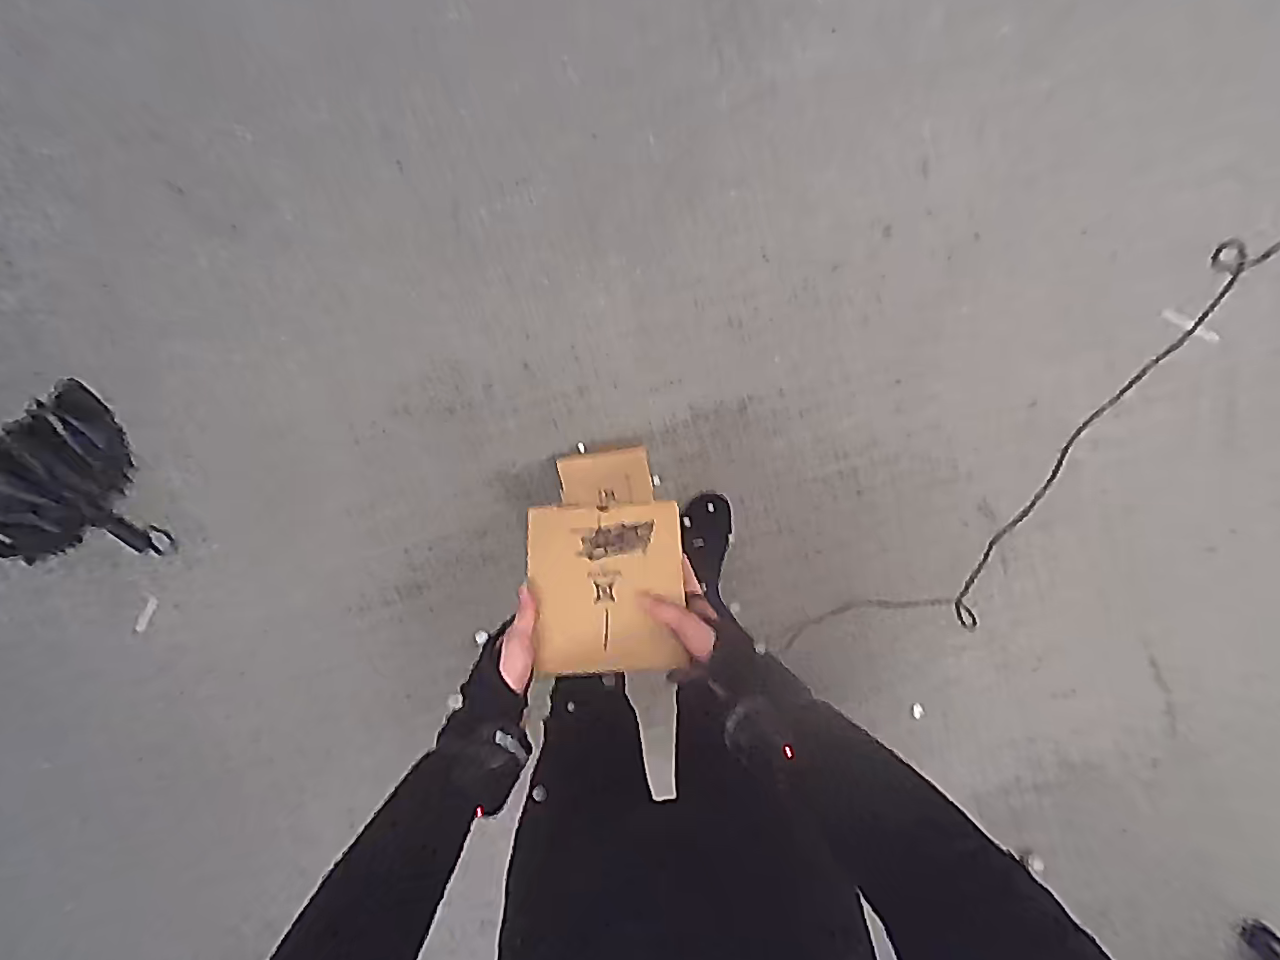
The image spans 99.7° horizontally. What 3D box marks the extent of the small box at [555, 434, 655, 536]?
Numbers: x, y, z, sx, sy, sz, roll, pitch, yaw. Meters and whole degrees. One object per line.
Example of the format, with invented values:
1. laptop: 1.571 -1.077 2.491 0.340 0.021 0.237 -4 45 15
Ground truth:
1. small box: -0.067 0.004 1.129 0.179 0.176 0.168 -10 102 1
